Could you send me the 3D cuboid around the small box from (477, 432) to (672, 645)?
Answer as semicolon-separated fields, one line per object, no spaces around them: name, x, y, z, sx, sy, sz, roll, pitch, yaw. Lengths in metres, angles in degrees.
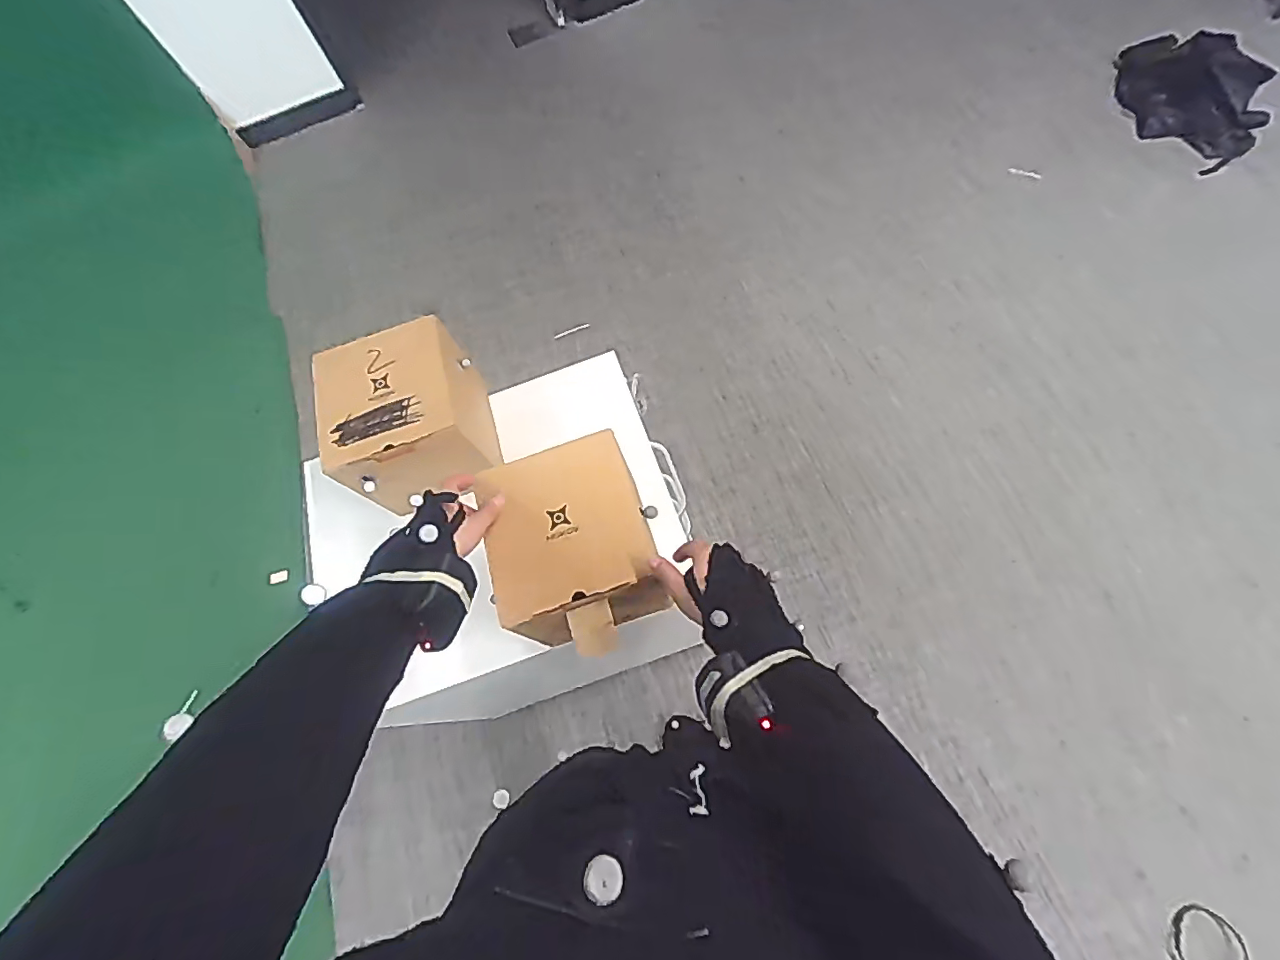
small box;-0.069;0.076;0.631;0.168;0.176;0.179;-19;66;0
